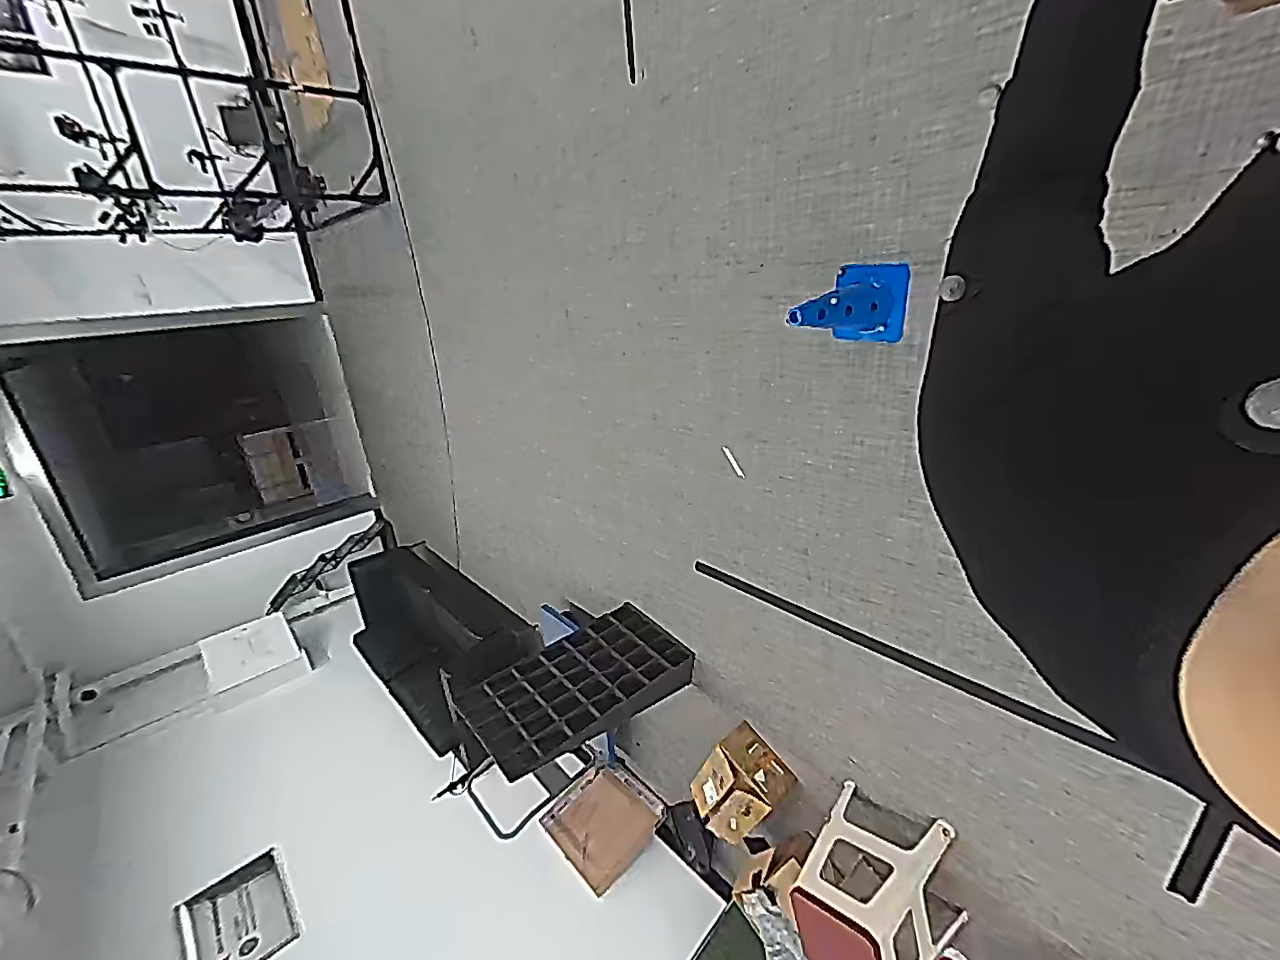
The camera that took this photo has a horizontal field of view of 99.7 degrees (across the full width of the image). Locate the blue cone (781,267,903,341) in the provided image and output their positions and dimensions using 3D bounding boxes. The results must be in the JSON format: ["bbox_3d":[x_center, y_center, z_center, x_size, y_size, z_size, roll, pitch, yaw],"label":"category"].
[{"bbox_3d":[0.495,-0.434,1.381,0.192,0.380,0.193,23,124,45],"label":"blue cone"}]
